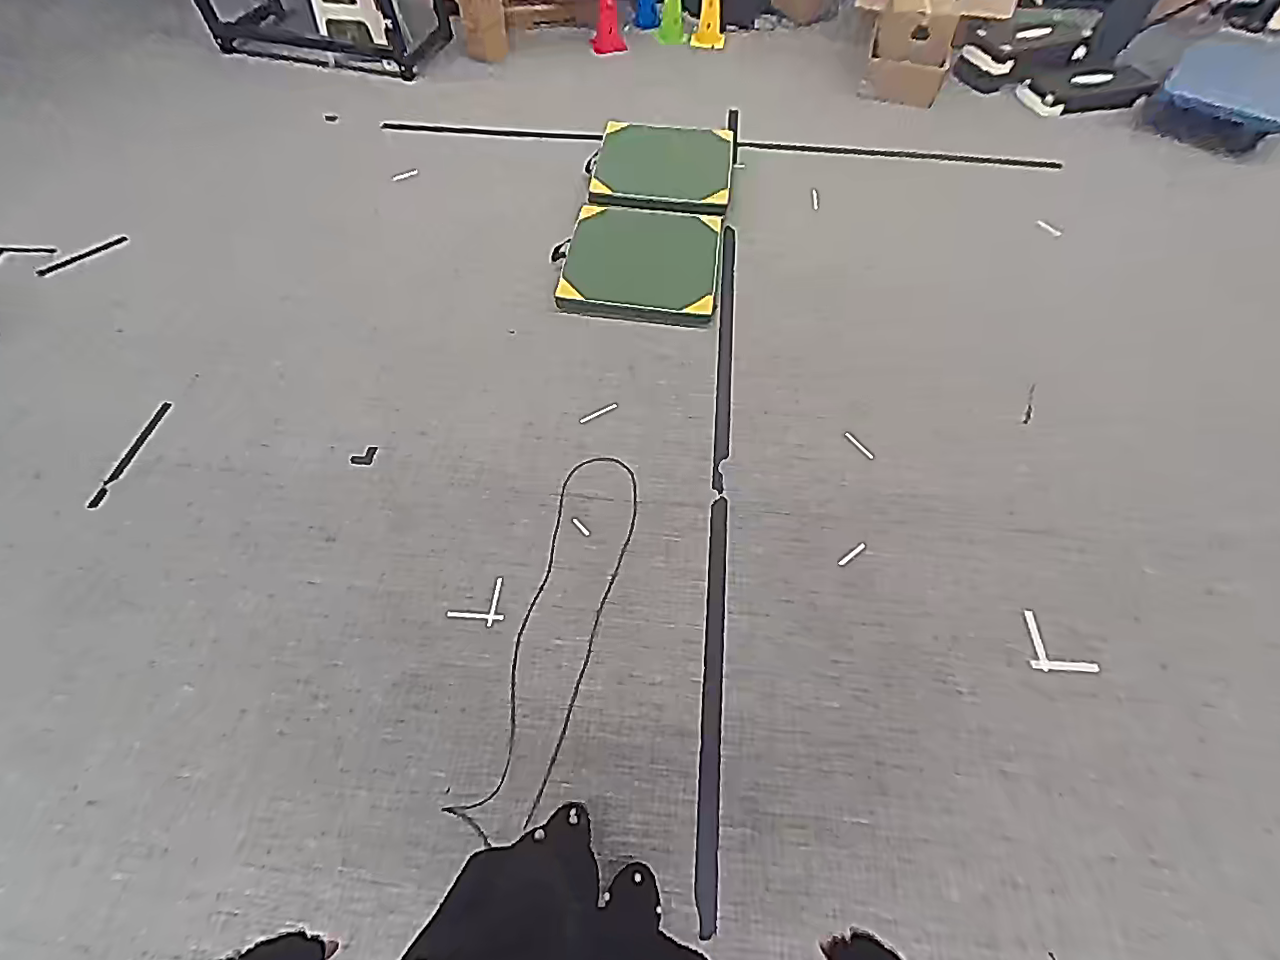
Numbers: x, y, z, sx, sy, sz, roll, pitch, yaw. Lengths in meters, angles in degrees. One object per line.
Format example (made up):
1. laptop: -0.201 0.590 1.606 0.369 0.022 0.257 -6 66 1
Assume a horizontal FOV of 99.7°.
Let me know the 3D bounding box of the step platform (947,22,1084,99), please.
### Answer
1. step platform: 2.110 -2.361 3.035 0.684 0.204 0.286 -20 62 -12
